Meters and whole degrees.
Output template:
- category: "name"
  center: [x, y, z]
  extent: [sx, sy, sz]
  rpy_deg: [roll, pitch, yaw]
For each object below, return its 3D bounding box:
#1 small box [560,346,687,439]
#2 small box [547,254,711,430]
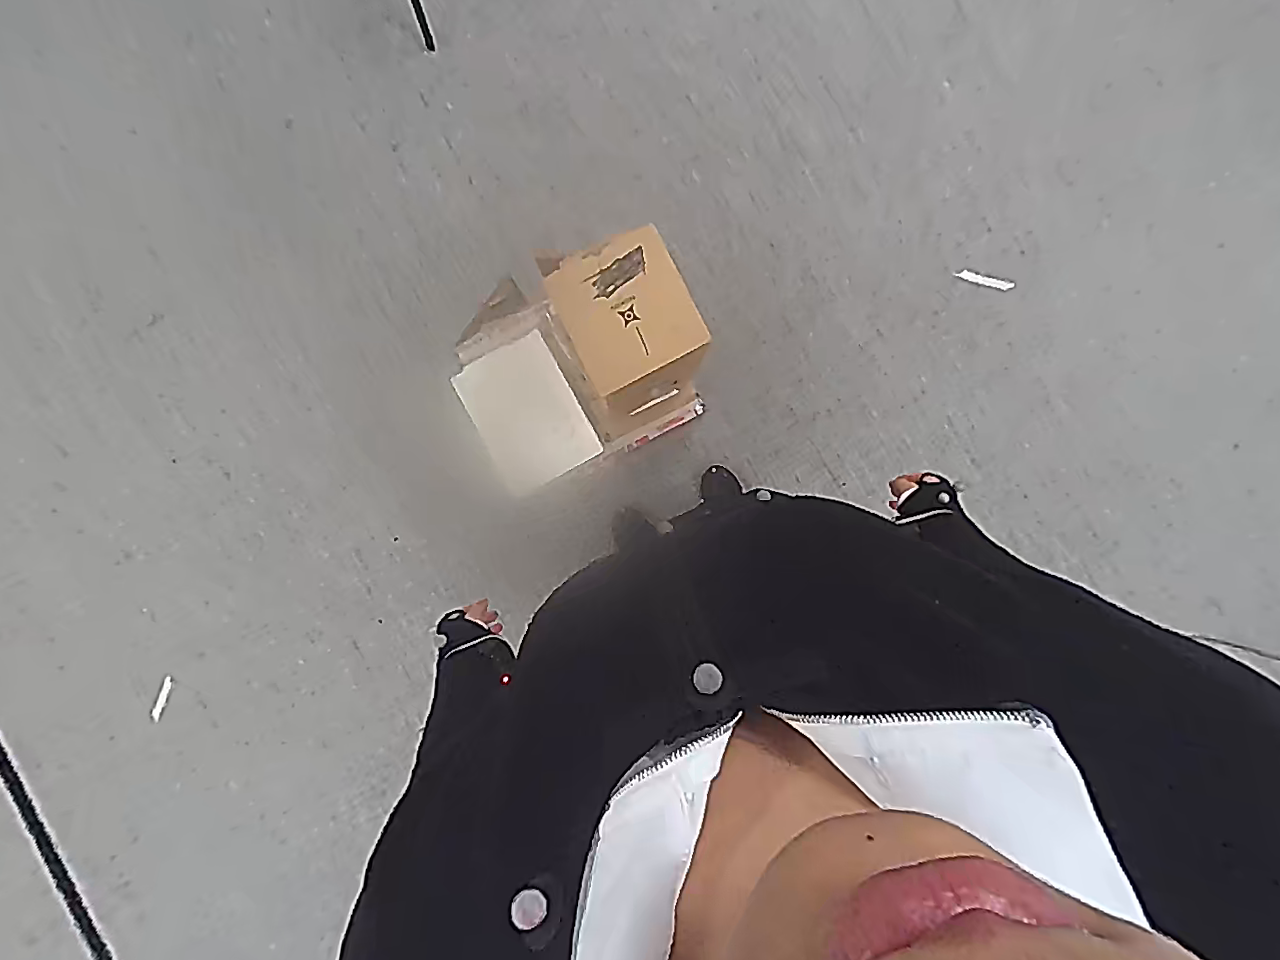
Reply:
- category: "small box"
  center: [-0.018, -0.187, 0.958]
  extent: [0.179, 0.176, 0.168]
  rpy_deg: [-31, 90, 1]
- category: "small box"
  center: [-0.016, -0.188, 0.794]
  extent: [0.168, 0.176, 0.179]
  rpy_deg: [-28, 91, 0]
